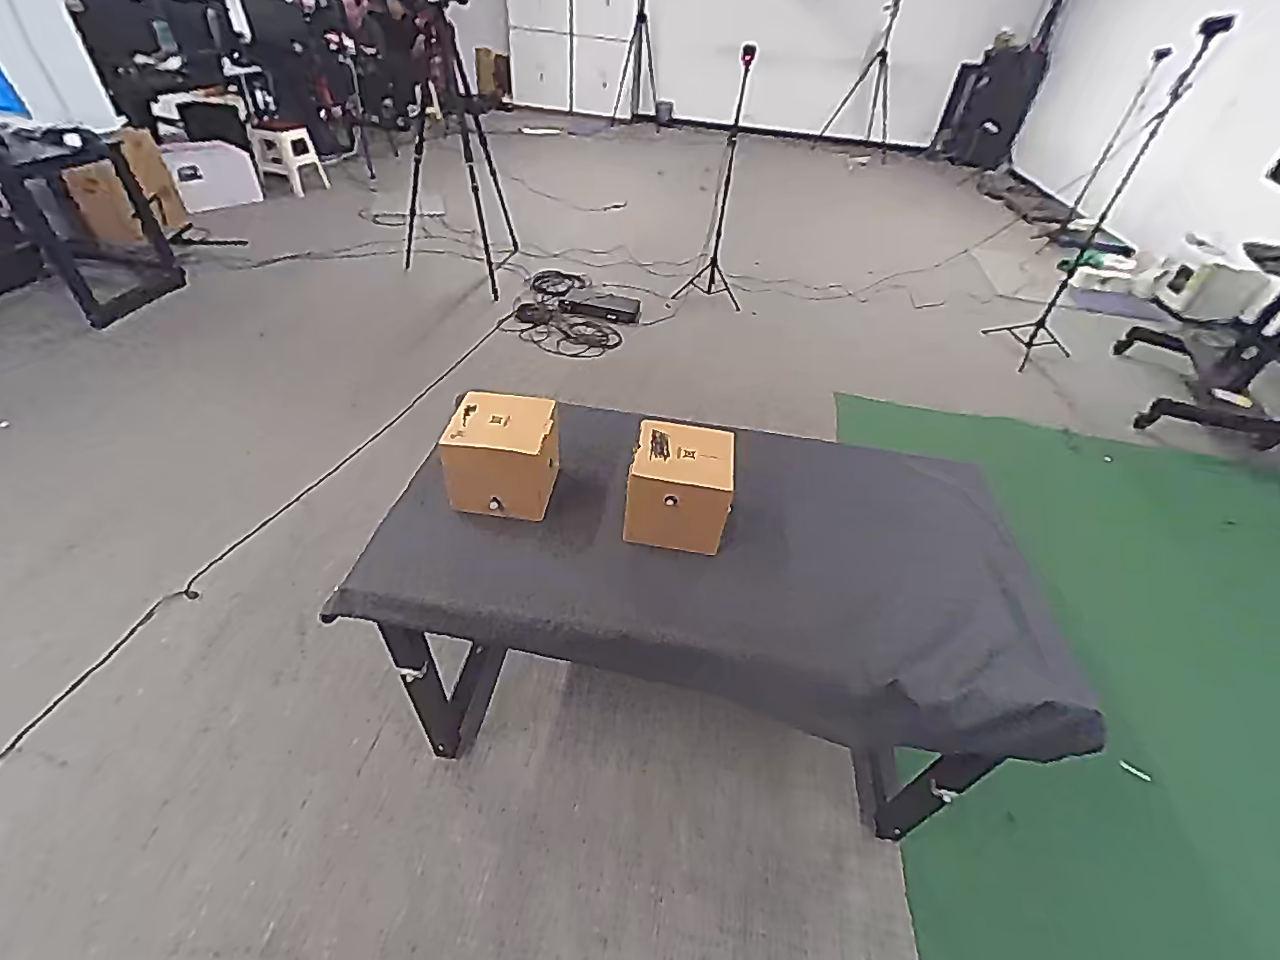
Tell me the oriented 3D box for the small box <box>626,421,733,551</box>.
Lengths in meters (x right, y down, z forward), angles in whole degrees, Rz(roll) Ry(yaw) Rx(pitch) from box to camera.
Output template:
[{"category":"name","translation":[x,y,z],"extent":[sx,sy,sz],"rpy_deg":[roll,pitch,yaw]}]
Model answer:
[{"category":"small box","translation":[0.072,0.014,1.013],"extent":[0.179,0.176,0.168],"rpy_deg":[9,42,2]}]

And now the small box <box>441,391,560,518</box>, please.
[{"category":"small box","translation":[-0.256,-0.046,1.038],"extent":[0.179,0.176,0.168],"rpy_deg":[8,42,0]}]
